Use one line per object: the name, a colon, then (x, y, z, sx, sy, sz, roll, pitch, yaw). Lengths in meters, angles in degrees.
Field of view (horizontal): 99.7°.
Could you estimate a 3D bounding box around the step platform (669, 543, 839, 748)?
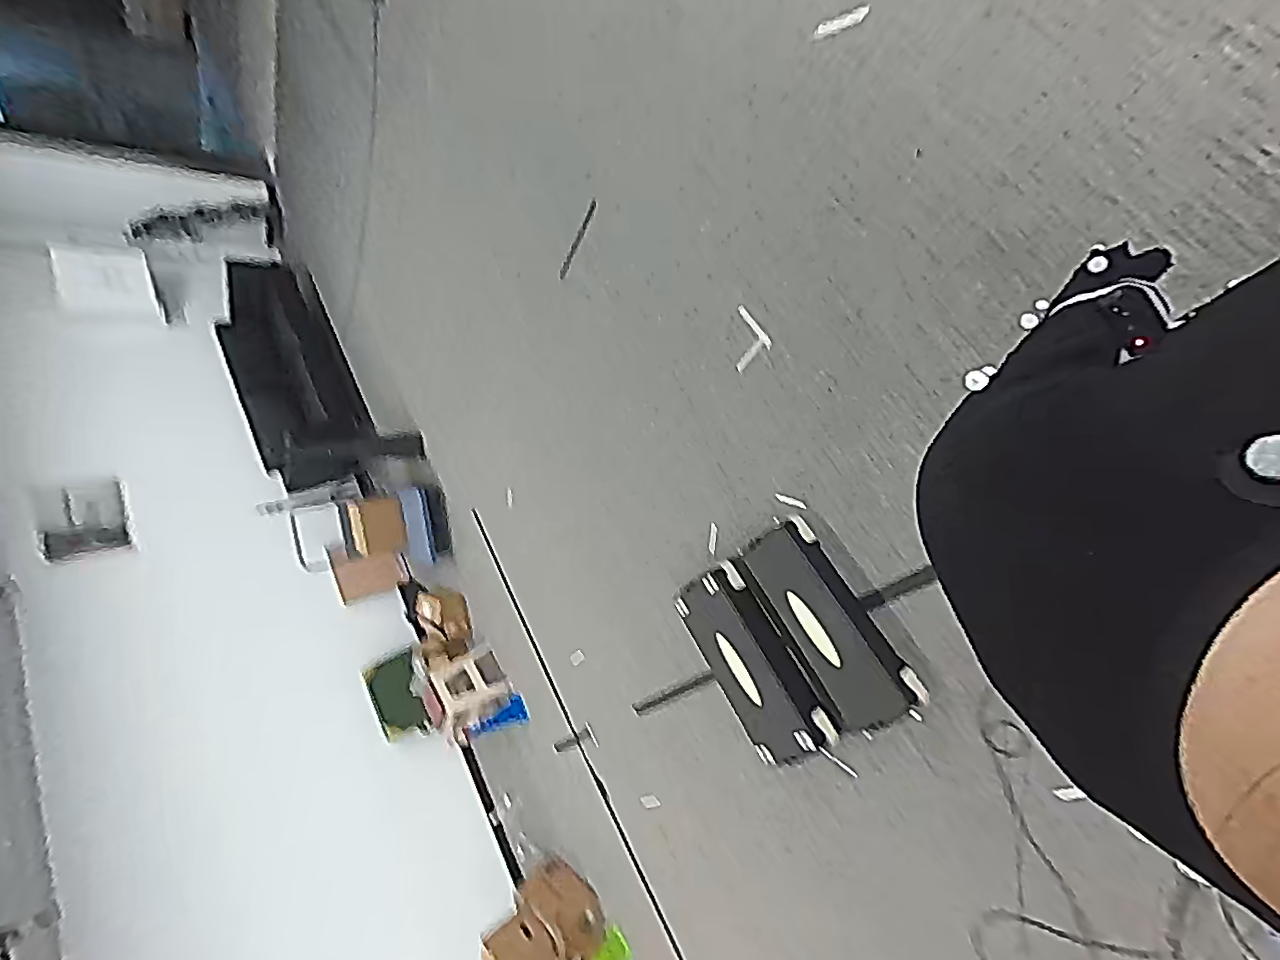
step platform: (0.380, 0.579, 1.916, 0.684, 0.204, 0.286, 60, 137, 19)
